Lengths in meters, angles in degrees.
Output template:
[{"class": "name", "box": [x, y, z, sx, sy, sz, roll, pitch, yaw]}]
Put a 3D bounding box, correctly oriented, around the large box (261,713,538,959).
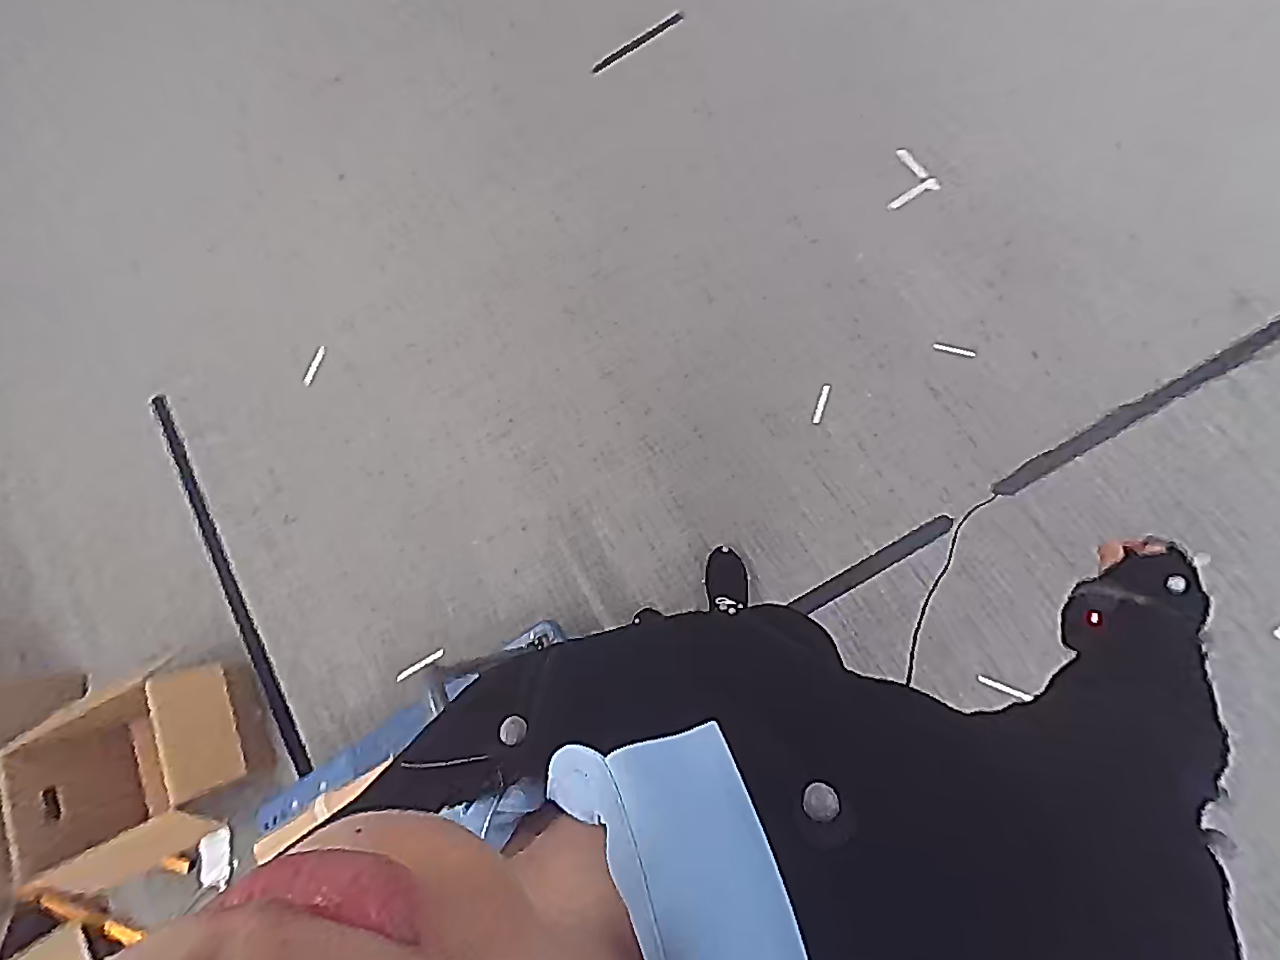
[{"class": "large box", "box": [-0.471, 0.776, 1.125, 0.320, 0.320, 0.408, -32, 79, 0]}]
